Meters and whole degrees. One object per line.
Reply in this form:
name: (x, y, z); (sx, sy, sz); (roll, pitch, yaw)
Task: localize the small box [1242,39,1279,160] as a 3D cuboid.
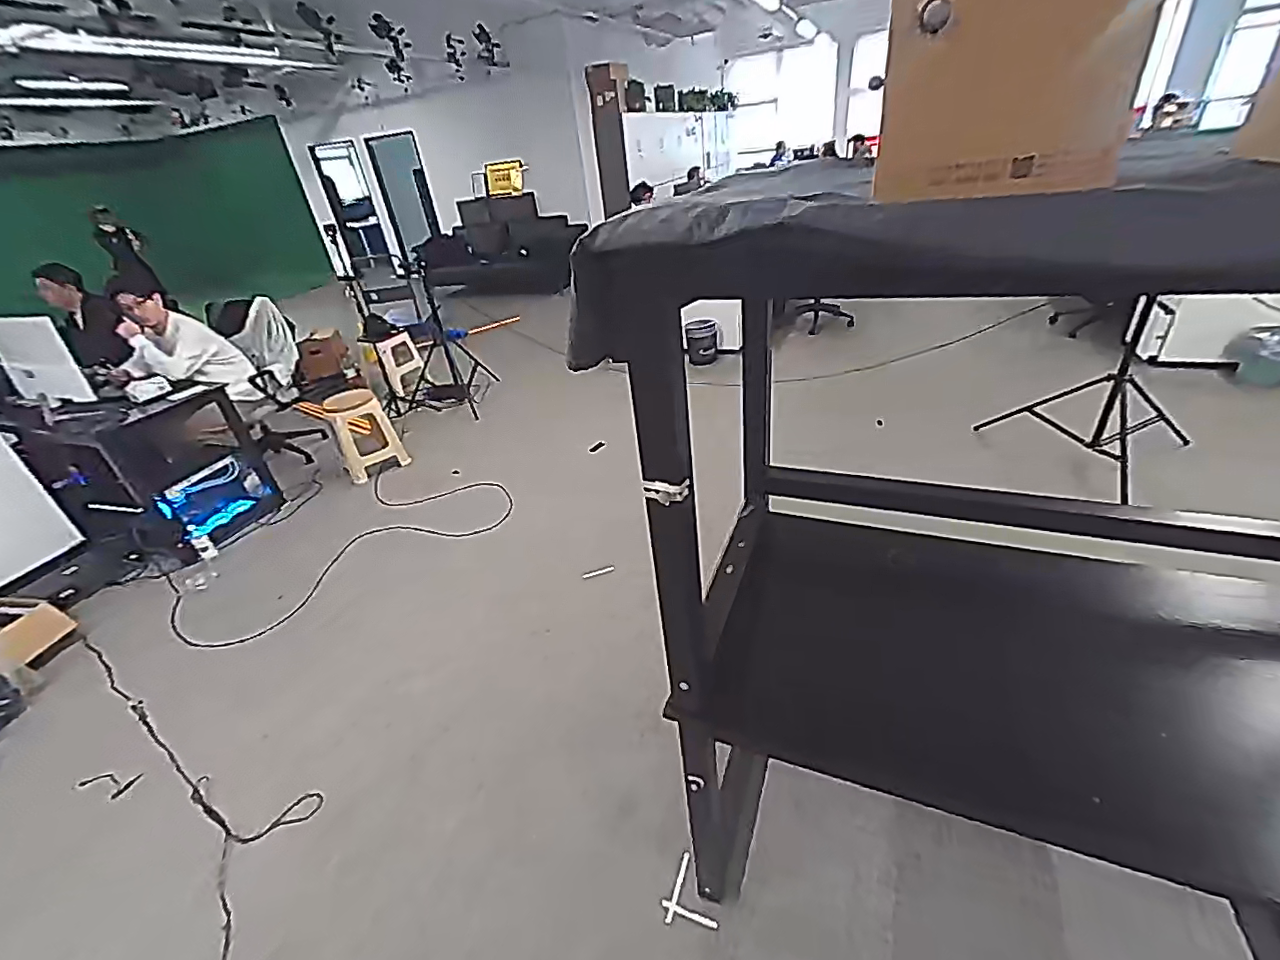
small box: (0.558, -0.307, 0.341); (0.168, 0.176, 0.179); (8, 32, 23)
